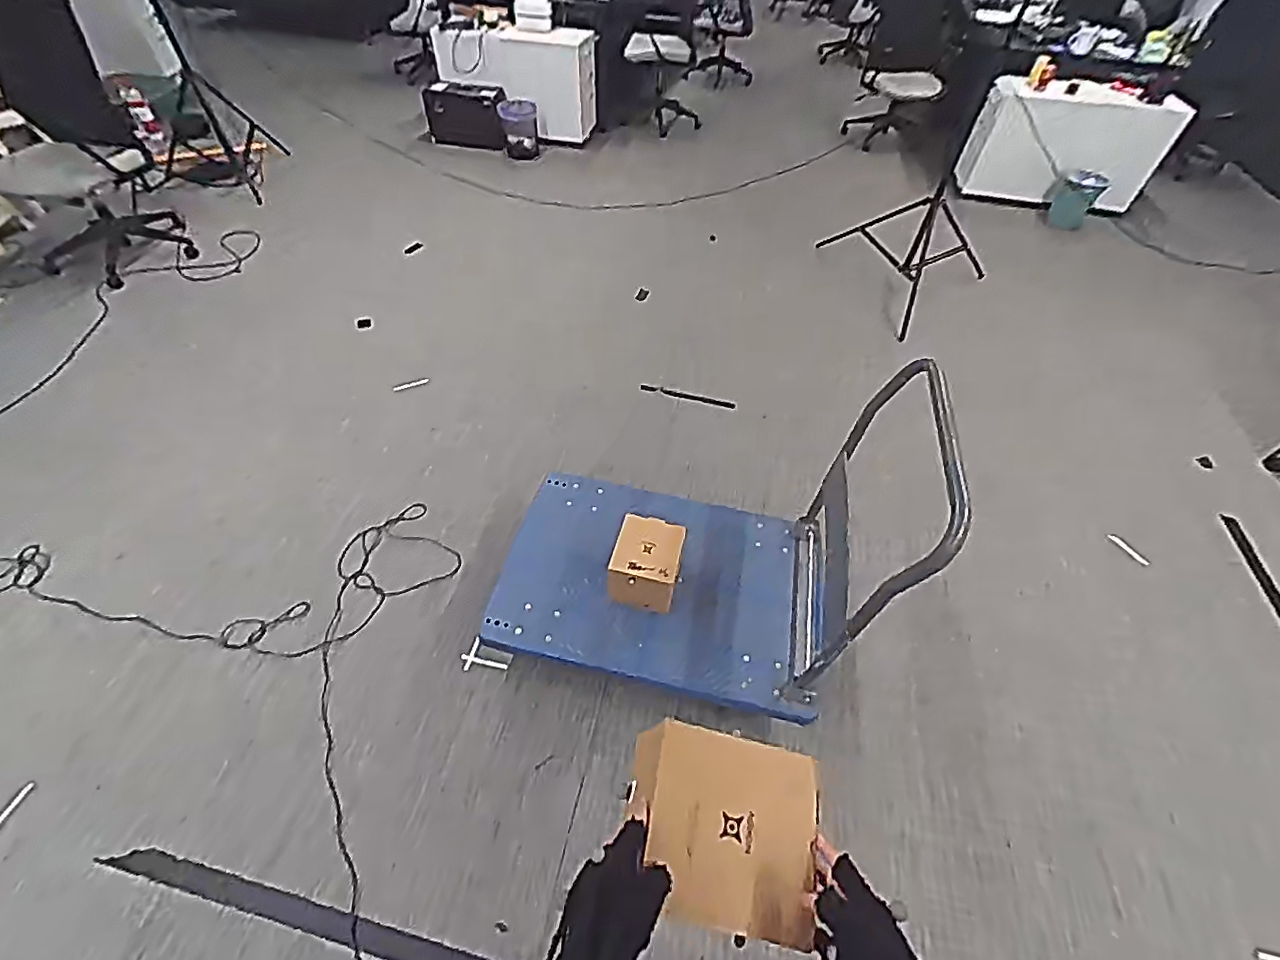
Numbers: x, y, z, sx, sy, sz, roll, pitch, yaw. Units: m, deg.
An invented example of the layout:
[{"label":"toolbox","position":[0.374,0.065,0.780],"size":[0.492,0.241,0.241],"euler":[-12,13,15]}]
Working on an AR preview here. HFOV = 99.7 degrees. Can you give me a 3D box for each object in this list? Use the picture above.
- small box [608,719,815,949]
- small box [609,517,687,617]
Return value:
[{"label":"small box","position":[0.074,0.383,0.603],"size":[0.179,0.176,0.168],"euler":[16,56,-3]},{"label":"small box","position":[0.018,0.230,1.427],"size":[0.168,0.176,0.179],"euler":[13,50,8]}]
